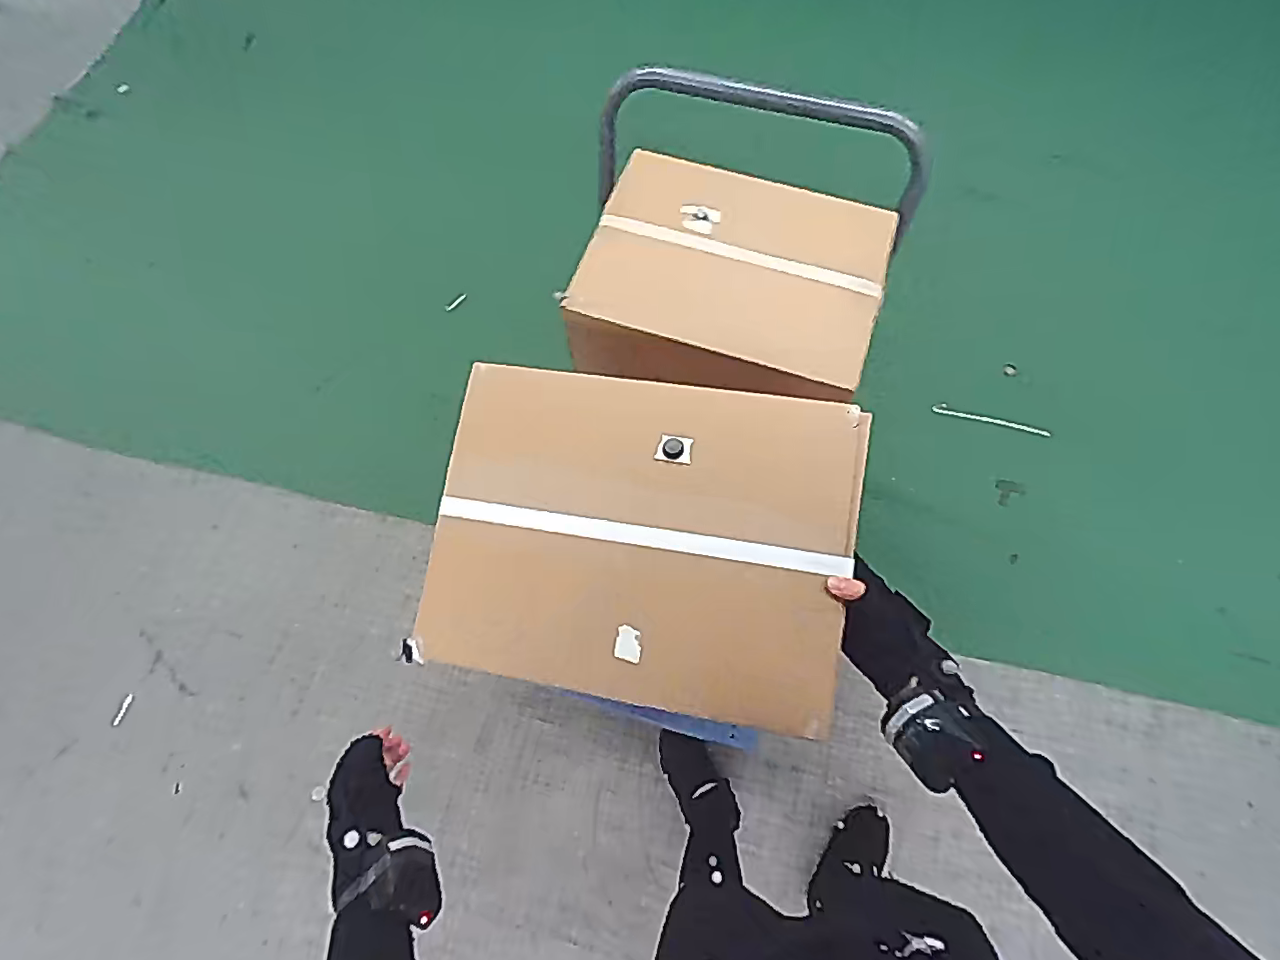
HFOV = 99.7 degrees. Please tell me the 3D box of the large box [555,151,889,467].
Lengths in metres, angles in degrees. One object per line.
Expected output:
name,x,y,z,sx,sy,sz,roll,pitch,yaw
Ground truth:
large box,0.127,-0.257,0.885,0.408,0.320,0.320,18,71,8
